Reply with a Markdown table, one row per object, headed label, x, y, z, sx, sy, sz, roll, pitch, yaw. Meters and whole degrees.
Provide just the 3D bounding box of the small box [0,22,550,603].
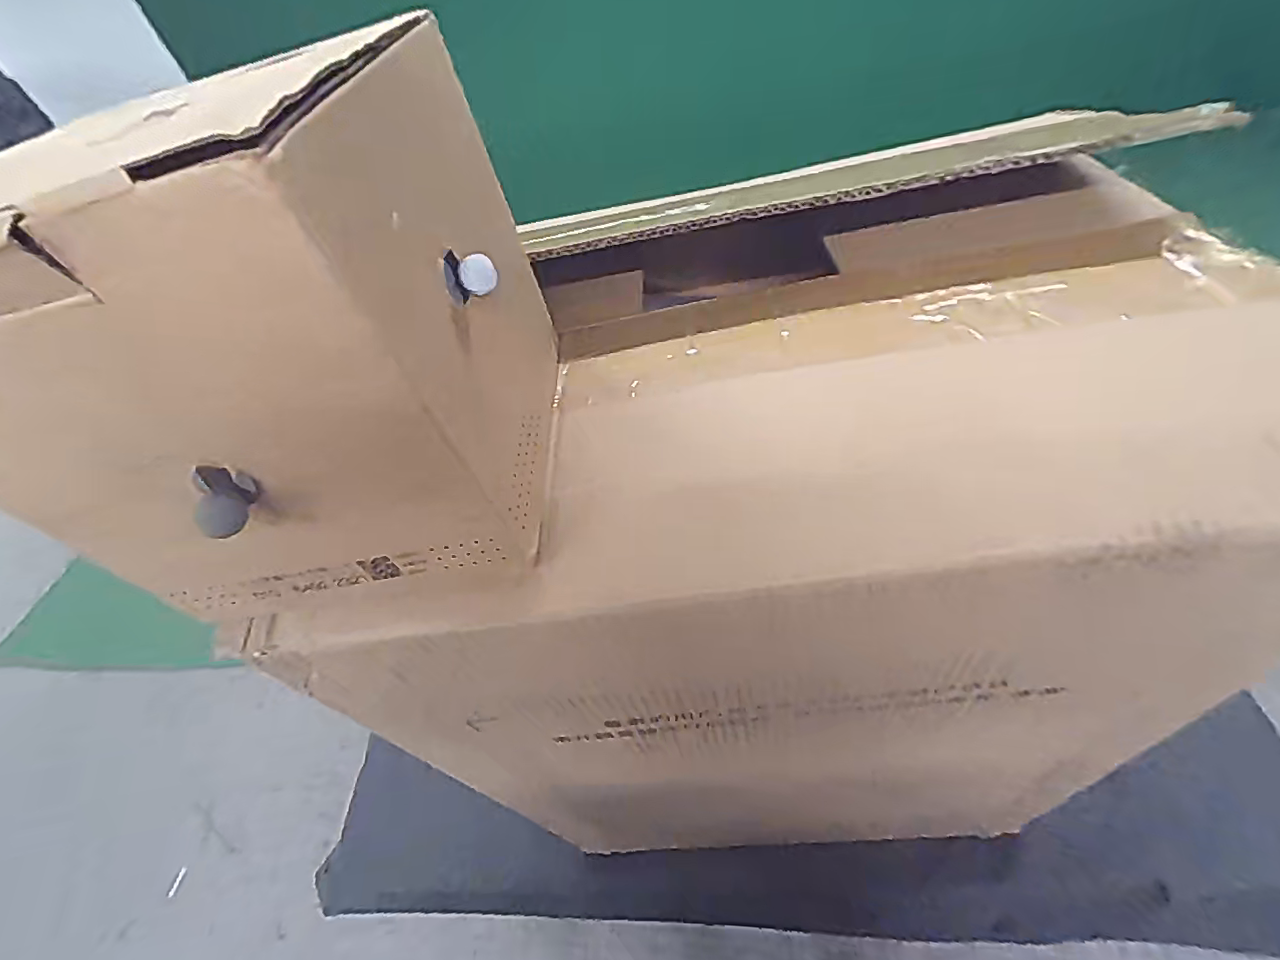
| label | x | y | z | sx | sy | sz | roll | pitch | yaw |
| --- | --- | --- | --- | --- | --- | --- | --- | --- | --- |
| small box | -0.147 | -0.059 | 0.241 | 0.168 | 0.176 | 0.179 | -10 | 48 | 7 |
